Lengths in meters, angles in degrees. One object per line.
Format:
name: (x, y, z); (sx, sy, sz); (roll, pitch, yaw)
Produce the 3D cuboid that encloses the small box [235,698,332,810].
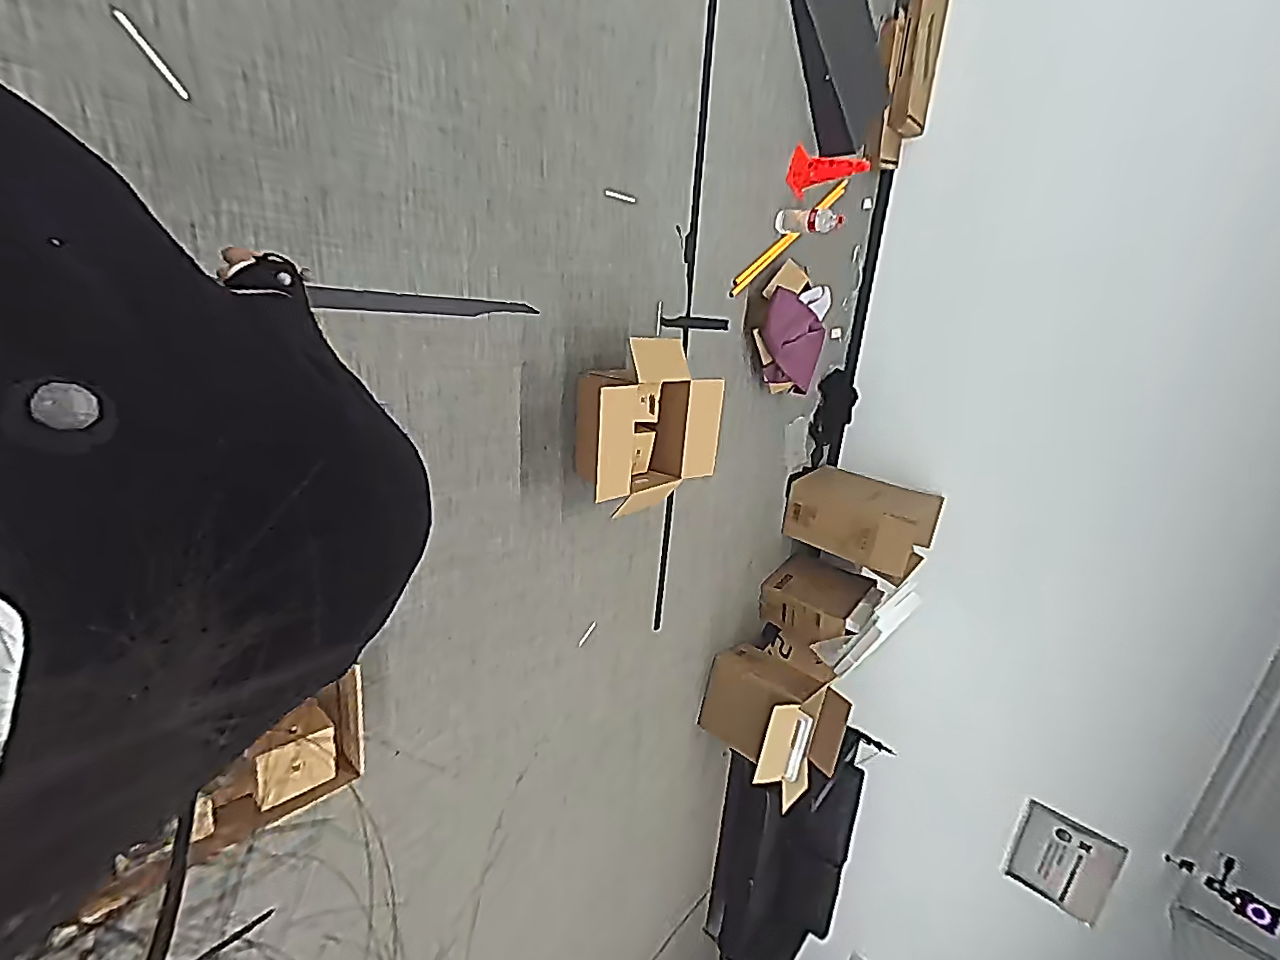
small box: (-0.943, 0.713, 1.434); (0.179, 0.176, 0.168); (-9, 110, -47)
